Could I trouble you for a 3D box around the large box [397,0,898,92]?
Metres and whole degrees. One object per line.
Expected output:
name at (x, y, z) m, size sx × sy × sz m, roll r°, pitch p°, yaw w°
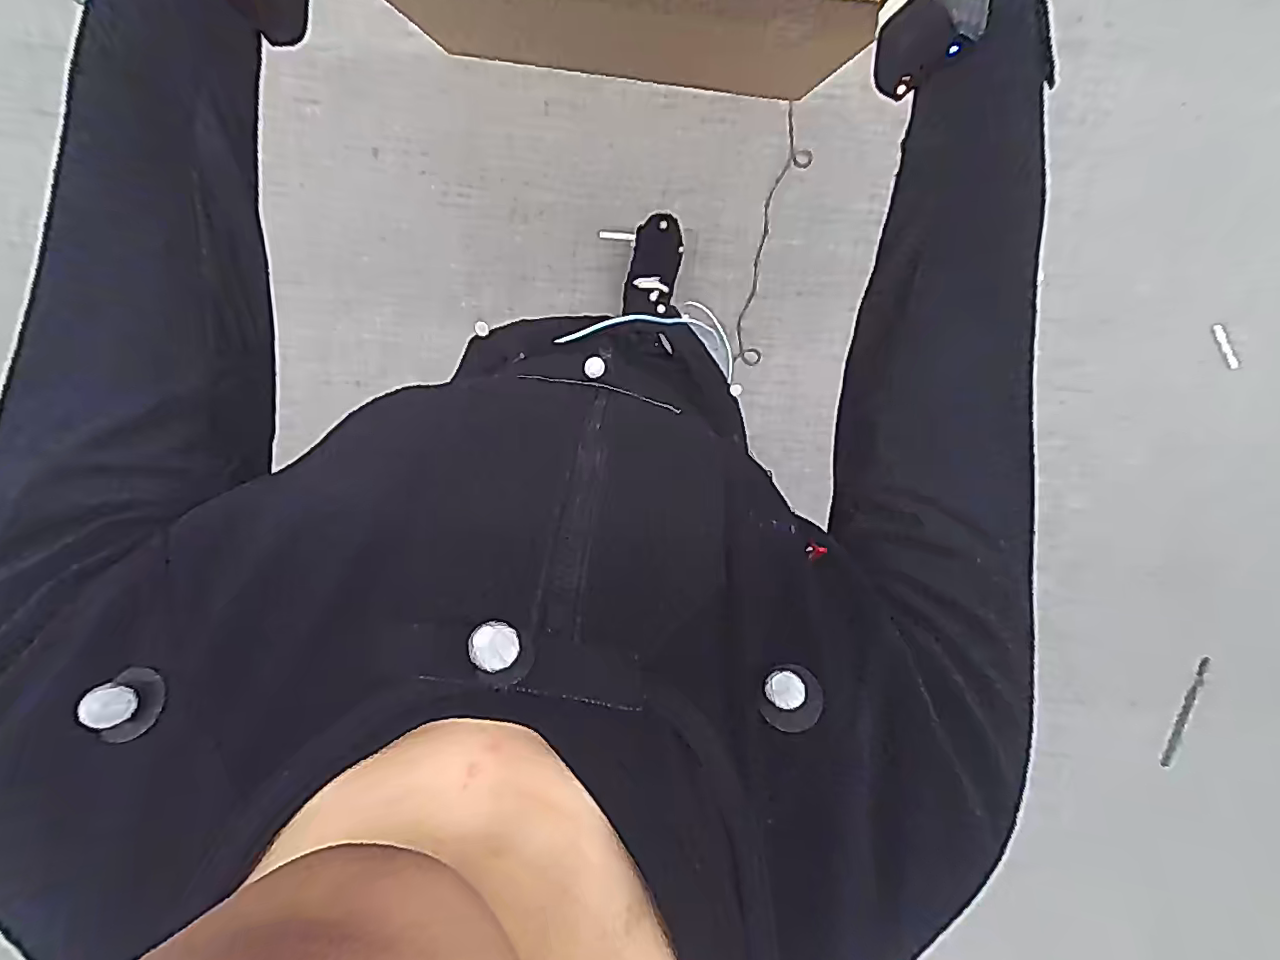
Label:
large box at (-0.002, -0.535, 0.419) m, size 0.408 × 0.320 × 0.320 m, roll 5°, pitch 116°, yaw -2°
